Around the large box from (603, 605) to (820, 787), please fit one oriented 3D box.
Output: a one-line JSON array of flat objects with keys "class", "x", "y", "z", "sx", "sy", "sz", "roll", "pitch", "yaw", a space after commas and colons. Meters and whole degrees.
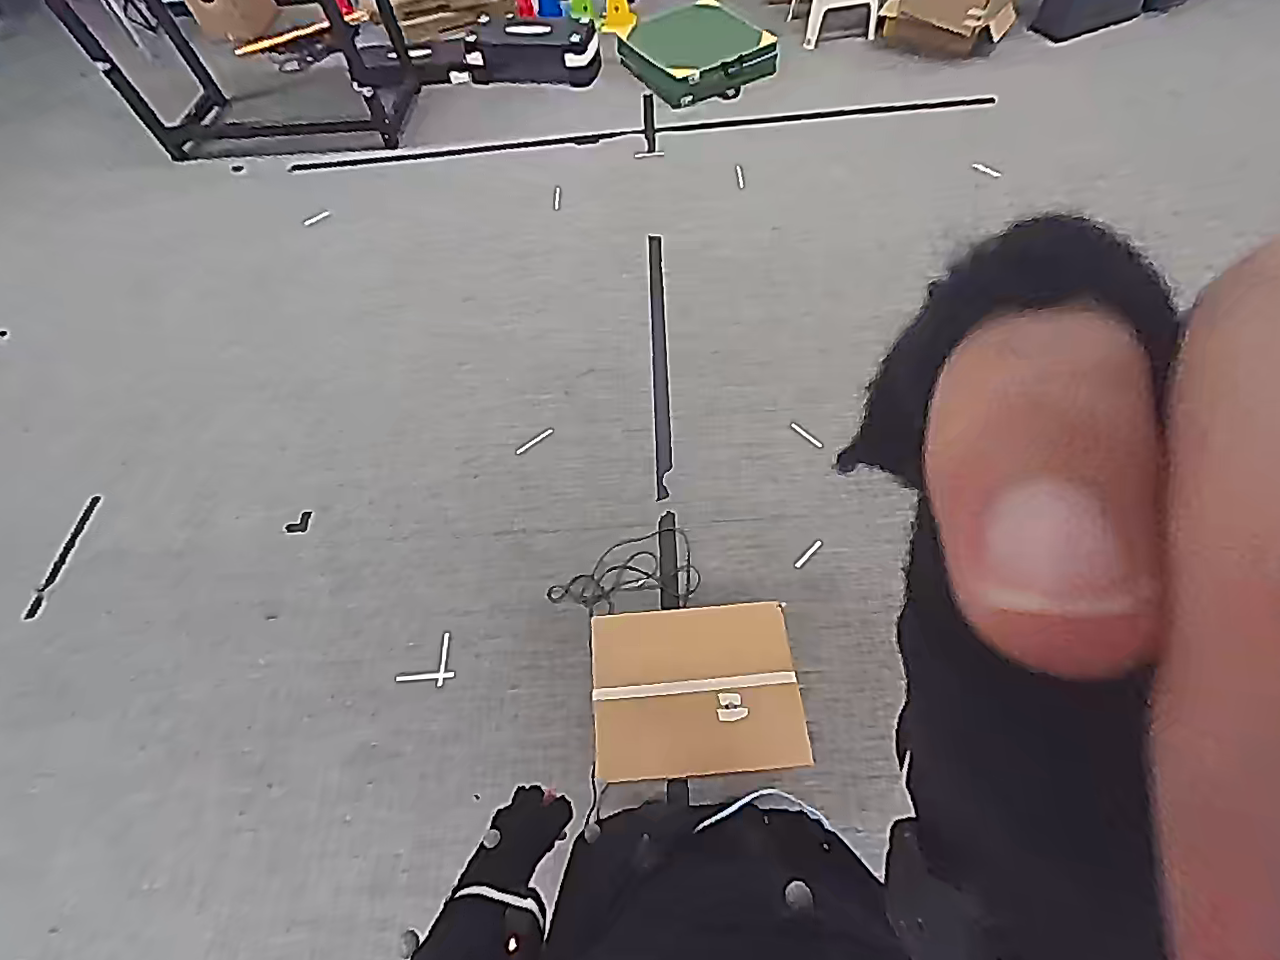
[{"class": "large box", "x": 0.135, "y": 0.491, "z": 1.205, "sx": 0.408, "sy": 0.320, "sz": 0.320, "roll": -4, "pitch": 61, "yaw": 1}]
